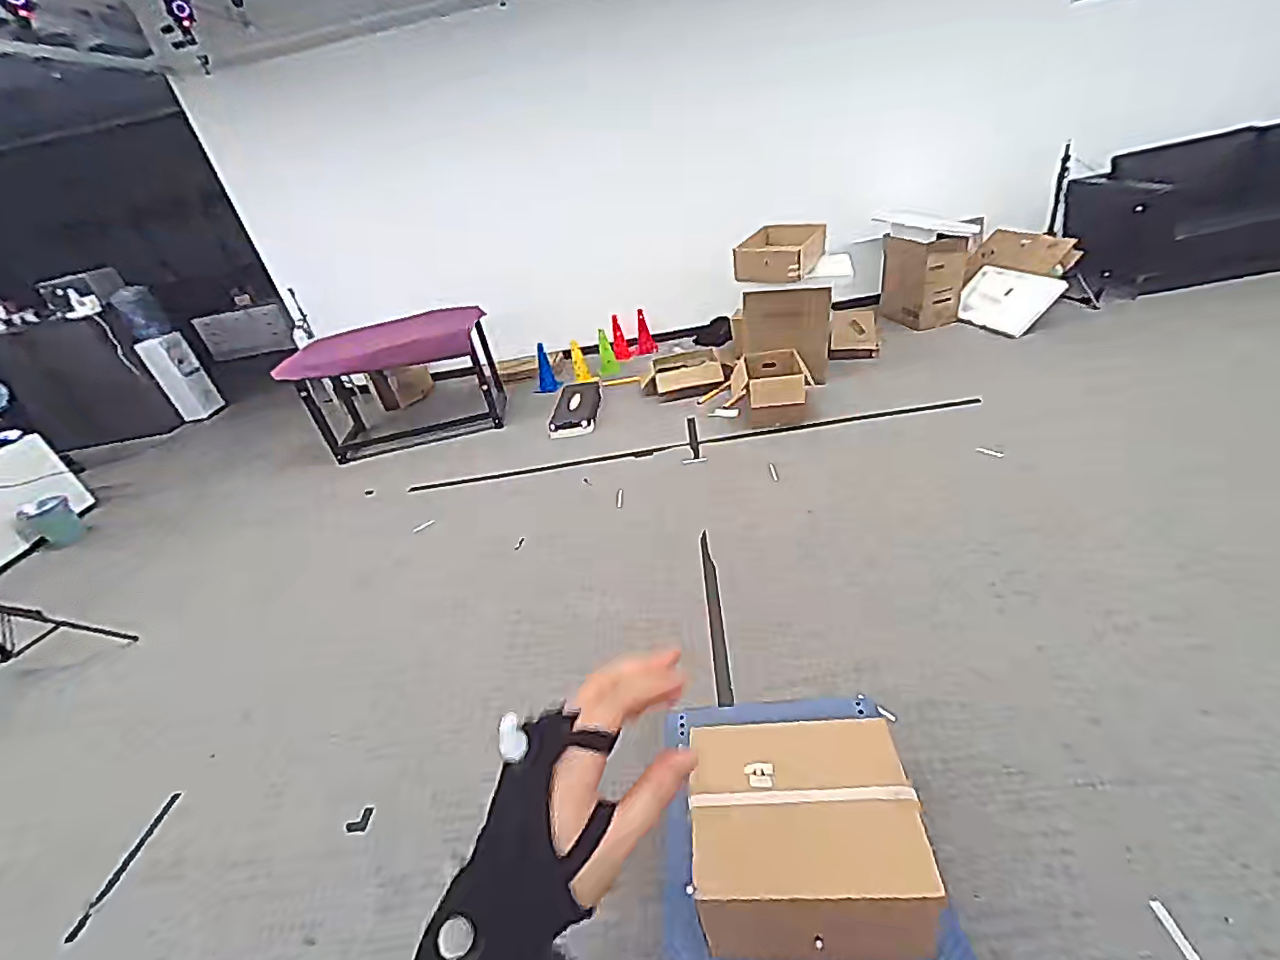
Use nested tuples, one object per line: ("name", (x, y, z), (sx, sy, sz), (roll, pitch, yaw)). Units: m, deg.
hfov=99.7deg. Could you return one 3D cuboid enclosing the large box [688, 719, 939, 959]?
("large box", (0.323, 0.728, 1.093), (0.408, 0.320, 0.320), (-8, 31, 9))
